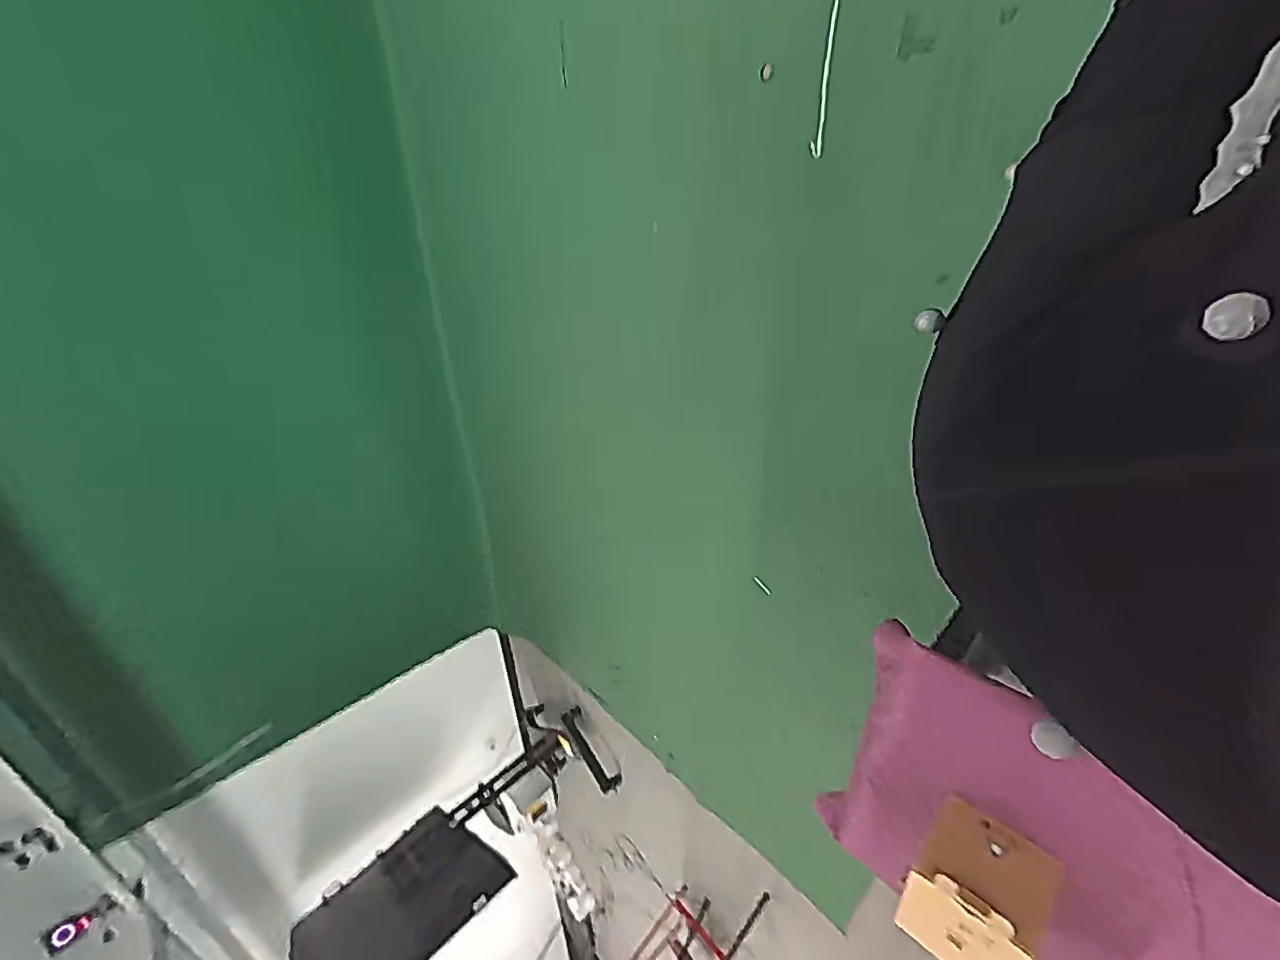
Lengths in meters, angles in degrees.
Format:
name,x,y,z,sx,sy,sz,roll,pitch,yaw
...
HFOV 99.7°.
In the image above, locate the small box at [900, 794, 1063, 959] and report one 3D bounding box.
name,x,y,z,sx,sy,sz,roll,pitch,yaw
small box,0.549,0.664,0.873,0.168,0.176,0.179,23,127,39
